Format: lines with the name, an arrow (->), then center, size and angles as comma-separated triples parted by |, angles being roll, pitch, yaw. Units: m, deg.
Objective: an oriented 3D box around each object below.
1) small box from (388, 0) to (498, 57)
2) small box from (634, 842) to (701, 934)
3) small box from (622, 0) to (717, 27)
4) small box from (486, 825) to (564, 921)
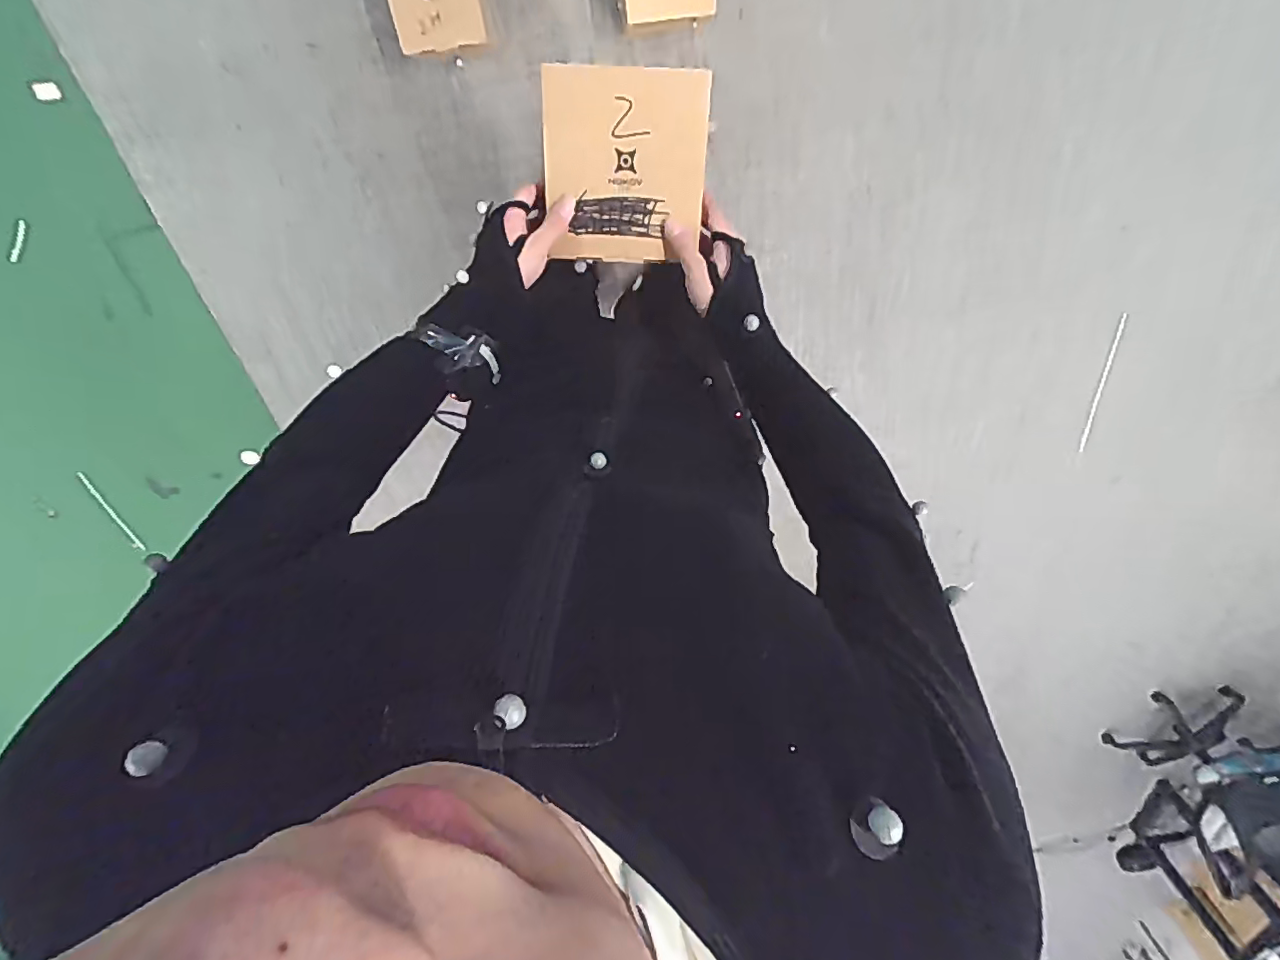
small box -> -0.383, -0.937, 1.033 | 0.168, 0.176, 0.179 | -8, 123, 1
small box -> 0.079, 1.229, 1.634 | 0.179, 0.176, 0.168 | -12, 124, 3
small box -> 0.048, -0.991, 1.033 | 0.179, 0.176, 0.168 | -8, 124, 0
small box -> -0.313, 1.091, 1.509 | 0.179, 0.176, 0.168 | -9, 124, 1
